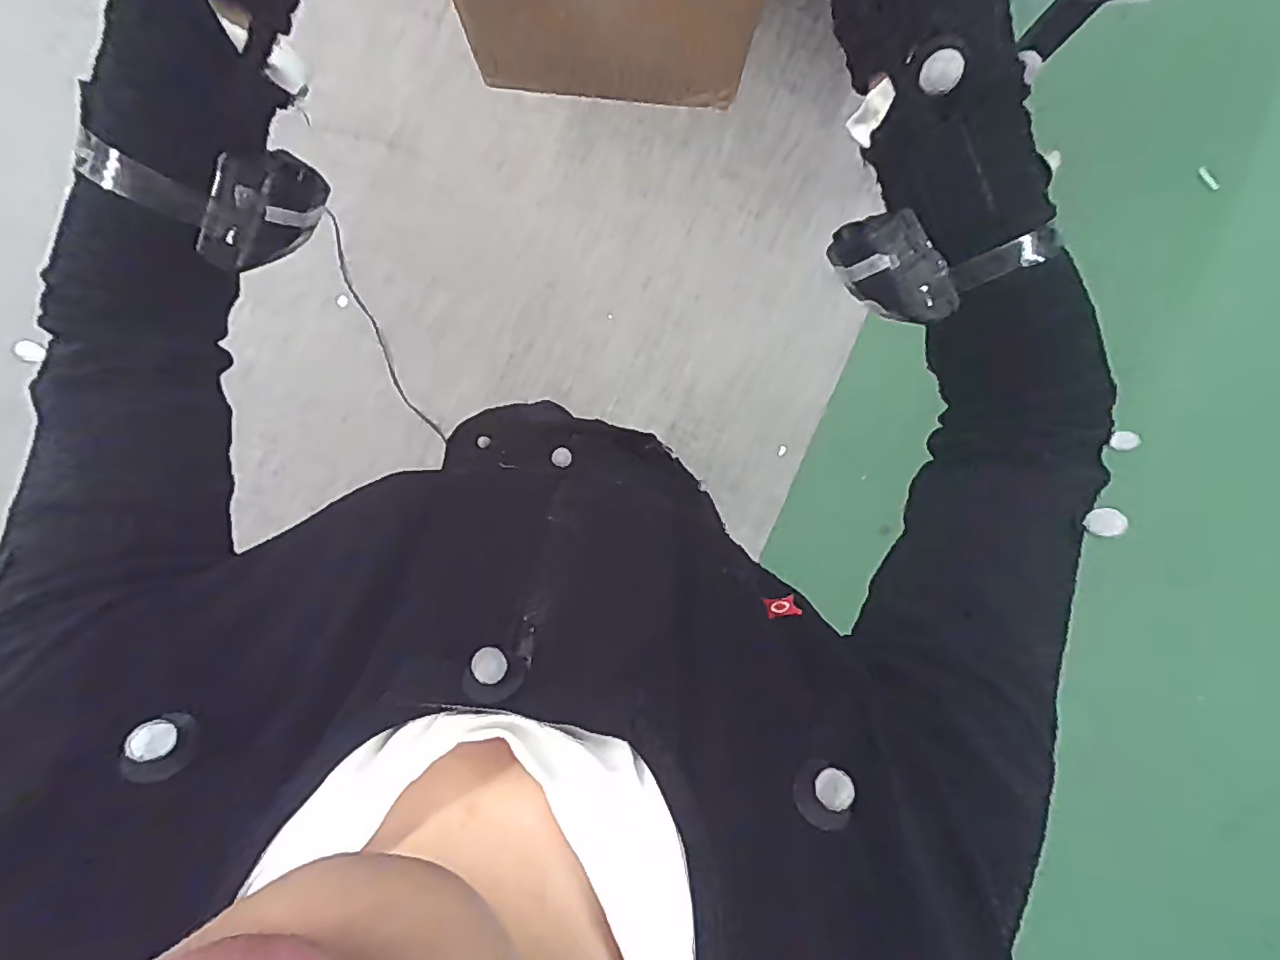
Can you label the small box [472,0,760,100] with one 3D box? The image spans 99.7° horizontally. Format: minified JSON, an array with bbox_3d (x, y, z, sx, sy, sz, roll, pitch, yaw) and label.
[{"bbox_3d":[-0.010,-0.349,0.299,0.179,0.176,0.168,5,93,-2],"label":"small box"}]
